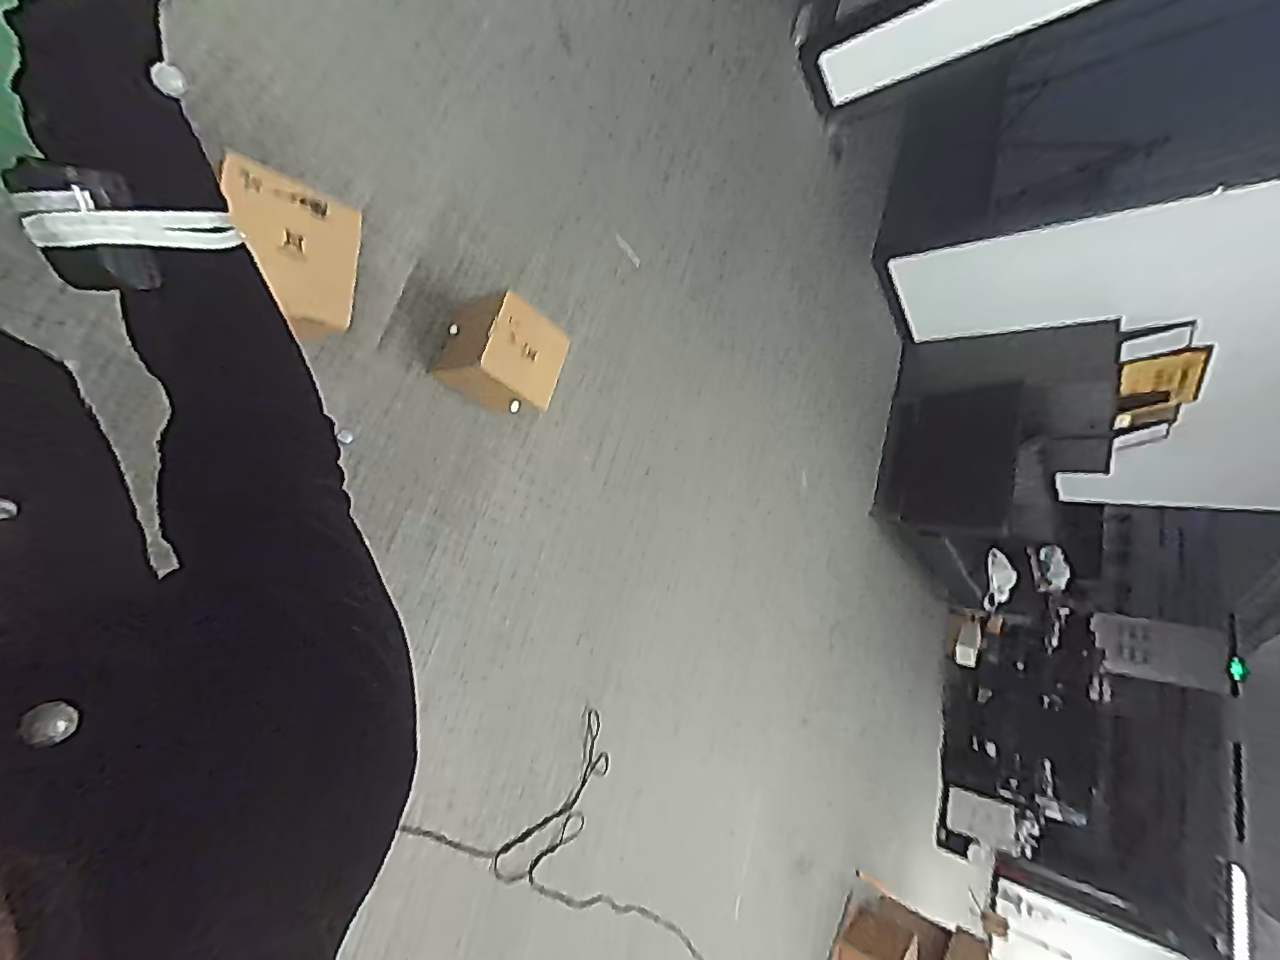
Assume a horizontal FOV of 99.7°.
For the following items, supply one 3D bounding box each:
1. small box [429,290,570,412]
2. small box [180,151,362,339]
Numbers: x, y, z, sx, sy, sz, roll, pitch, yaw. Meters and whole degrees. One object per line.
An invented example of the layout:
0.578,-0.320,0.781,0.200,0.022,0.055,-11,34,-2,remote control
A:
-0.276,-0.247,1.070,0.179,0.176,0.168,36,65,-48,small box
-0.525,-0.312,0.767,0.168,0.176,0.179,10,85,-50,small box
